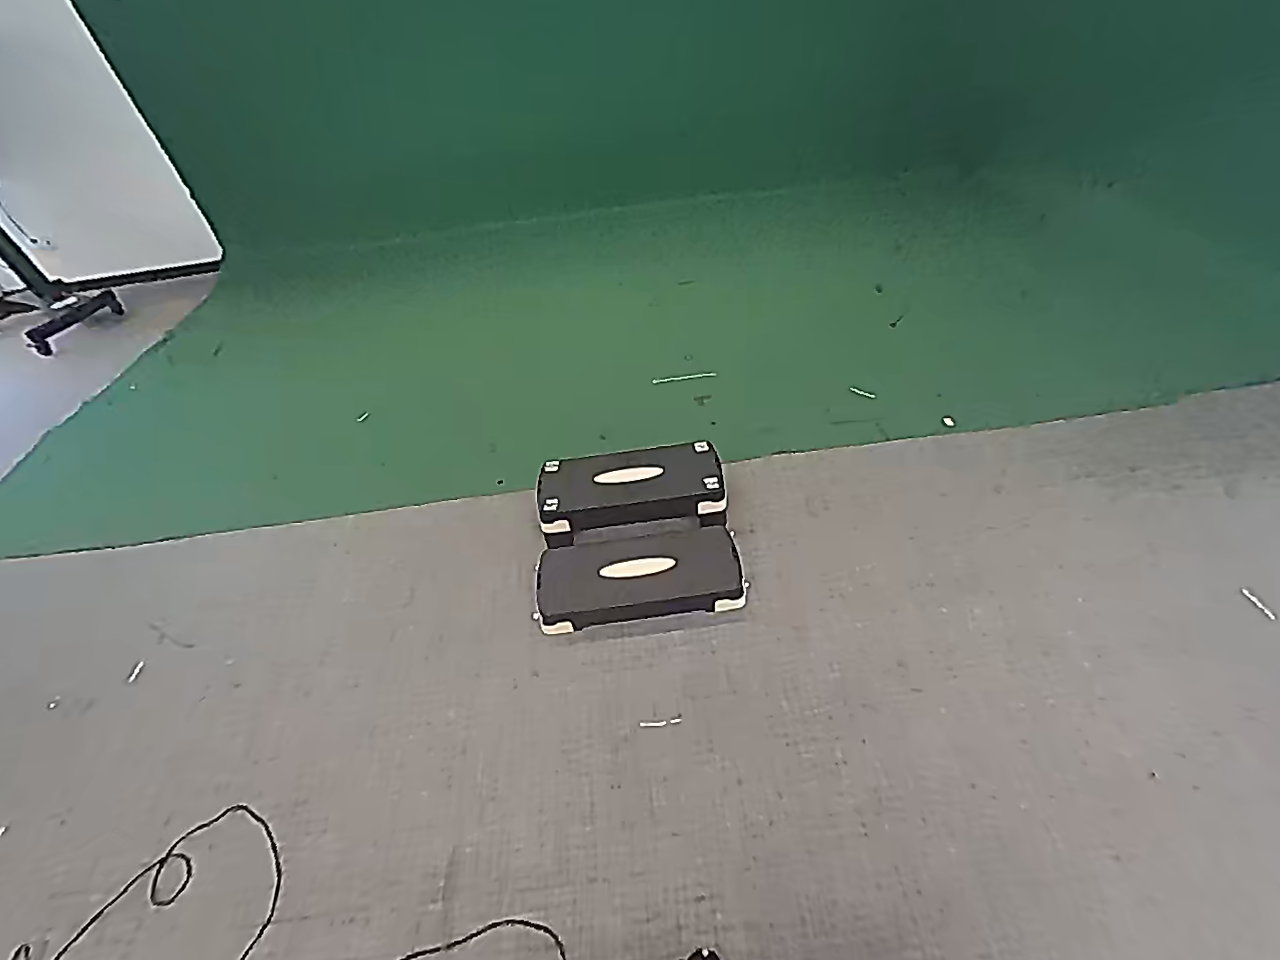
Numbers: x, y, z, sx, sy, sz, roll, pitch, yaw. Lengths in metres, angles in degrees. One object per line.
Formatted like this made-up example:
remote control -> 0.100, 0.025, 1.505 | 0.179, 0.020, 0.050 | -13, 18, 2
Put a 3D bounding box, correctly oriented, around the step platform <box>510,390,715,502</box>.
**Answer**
step platform -> -0.088, -0.118, 1.868 | 0.684, 0.204, 0.286 | -8, 44, 1
